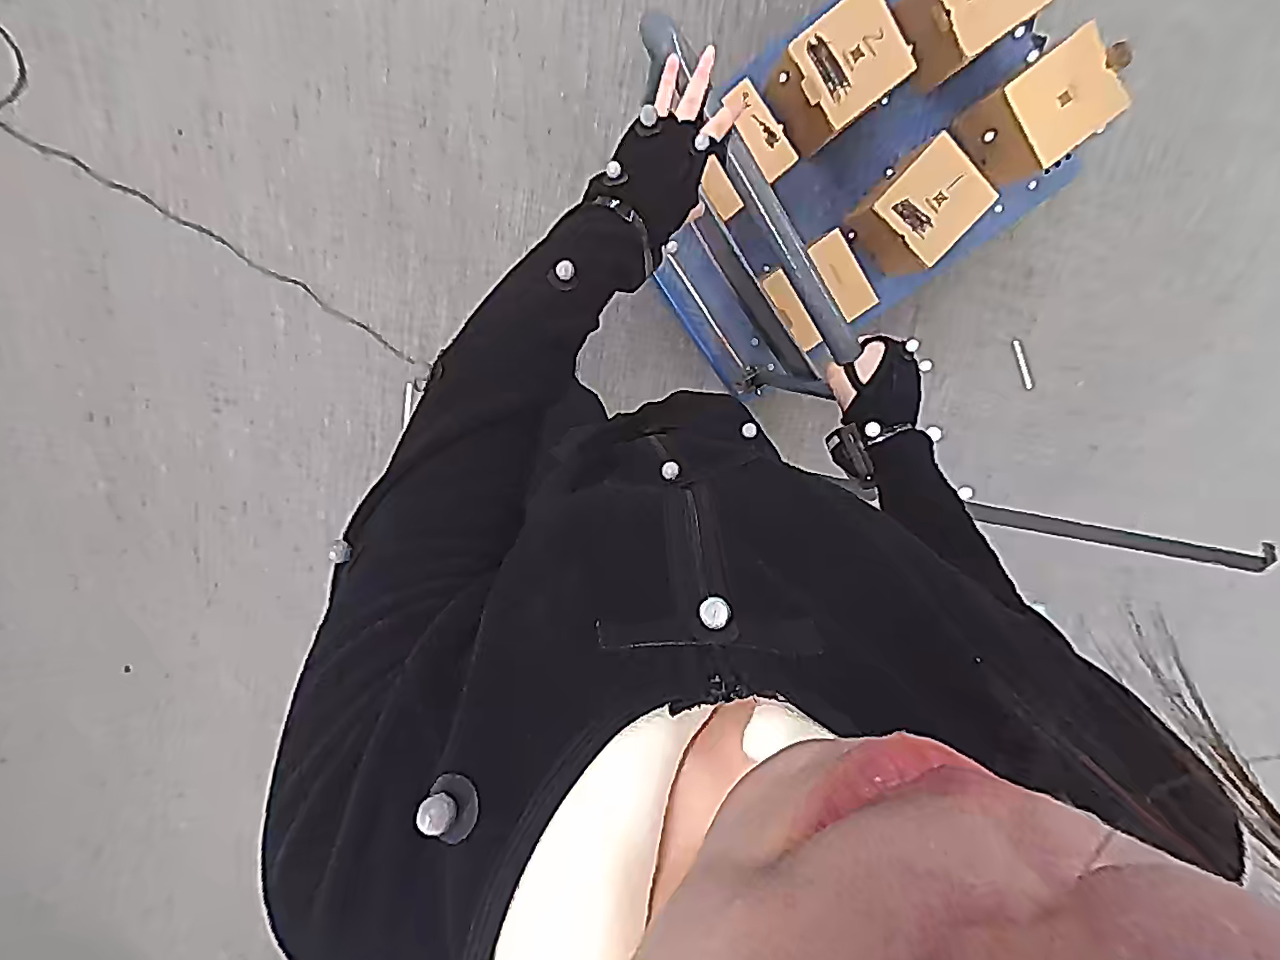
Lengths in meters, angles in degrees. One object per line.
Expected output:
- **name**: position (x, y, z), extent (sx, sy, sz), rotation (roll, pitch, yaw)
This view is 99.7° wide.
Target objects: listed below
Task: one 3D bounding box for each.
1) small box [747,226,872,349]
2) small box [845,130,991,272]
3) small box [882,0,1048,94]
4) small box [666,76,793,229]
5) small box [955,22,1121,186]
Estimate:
- **small box**: position (0.339, -0.391, 1.128), extent (0.179, 0.176, 0.168), rotation (-34, 104, 6)
- **small box**: position (0.542, -0.546, 1.091), extent (0.168, 0.176, 0.179), rotation (42, 99, -12)
- **small box**: position (0.591, -0.873, 1.002), extent (0.179, 0.176, 0.168), rotation (-33, 103, 8)
- **small box**: position (0.164, -0.622, 1.057), extent (0.179, 0.176, 0.168), rotation (-38, 104, 8)
- **small box**: position (0.755, -0.713, 1.053), extent (0.179, 0.176, 0.168), rotation (-37, 103, 8)
